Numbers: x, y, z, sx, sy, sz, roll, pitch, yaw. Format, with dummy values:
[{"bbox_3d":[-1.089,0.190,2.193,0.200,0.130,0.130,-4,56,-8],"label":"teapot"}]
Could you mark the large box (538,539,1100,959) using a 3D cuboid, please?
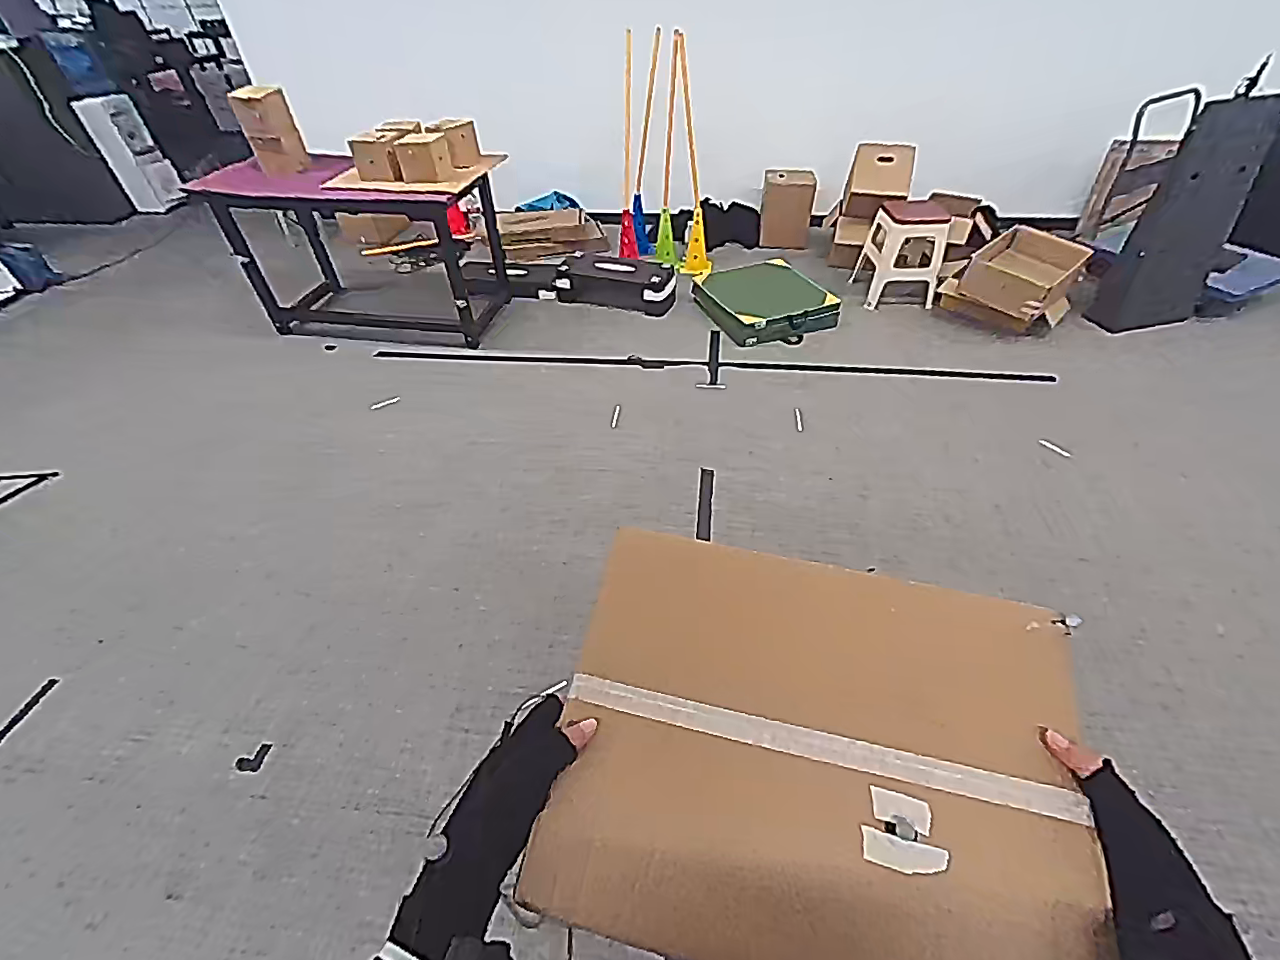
[{"bbox_3d":[0.152,0.294,0.577,0.408,0.320,0.320,10,61,9],"label":"large box"}]
